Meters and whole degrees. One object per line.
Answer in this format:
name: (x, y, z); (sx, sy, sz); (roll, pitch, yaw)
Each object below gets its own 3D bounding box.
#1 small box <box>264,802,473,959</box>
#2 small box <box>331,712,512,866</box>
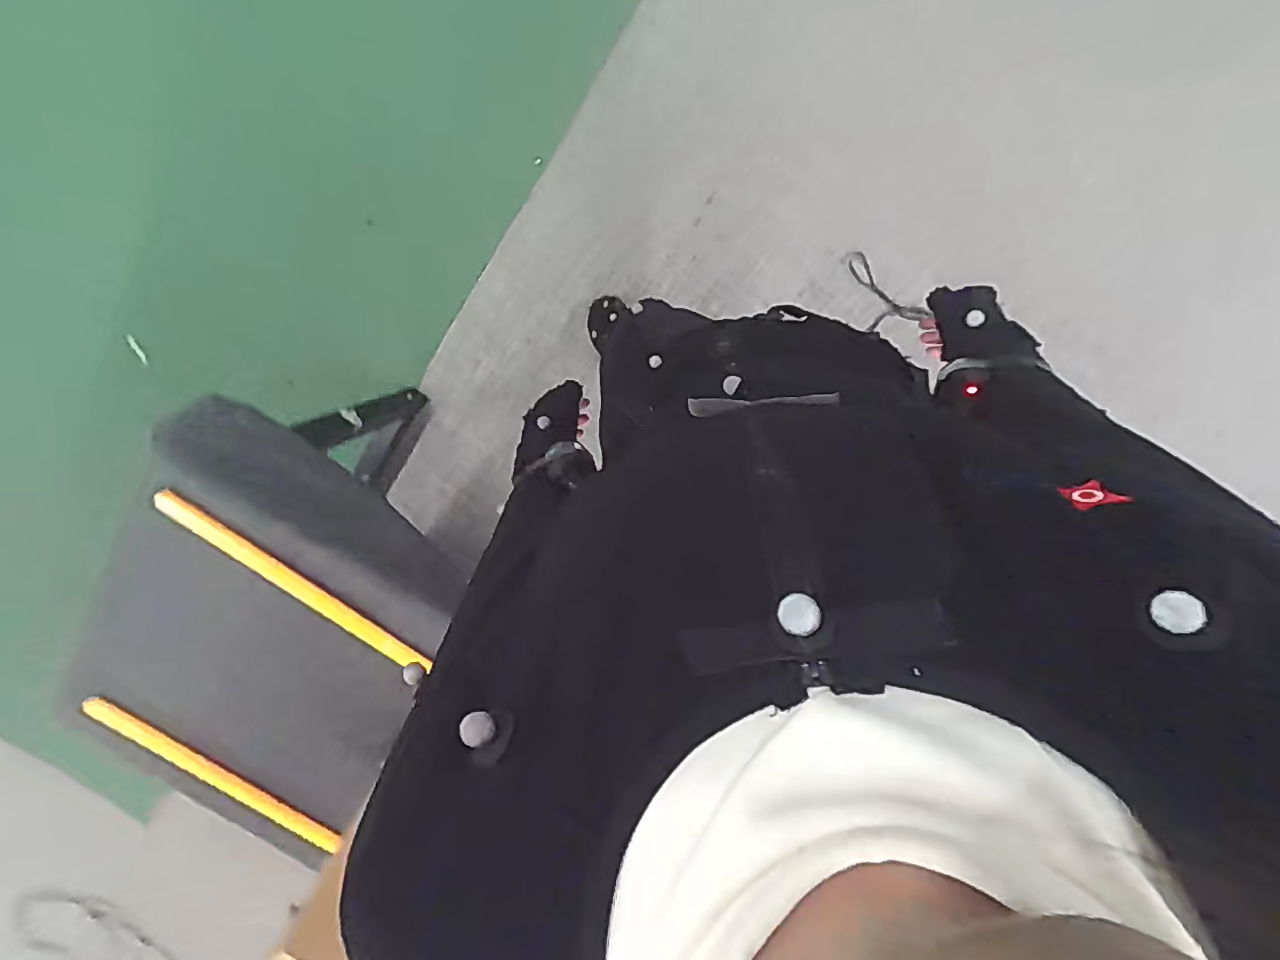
small box: (-0.339, 0.558, 0.677); (0.168, 0.176, 0.179); (36, 109, -6)
small box: (-0.323, 0.504, 0.832); (0.168, 0.176, 0.179); (36, 110, -7)
